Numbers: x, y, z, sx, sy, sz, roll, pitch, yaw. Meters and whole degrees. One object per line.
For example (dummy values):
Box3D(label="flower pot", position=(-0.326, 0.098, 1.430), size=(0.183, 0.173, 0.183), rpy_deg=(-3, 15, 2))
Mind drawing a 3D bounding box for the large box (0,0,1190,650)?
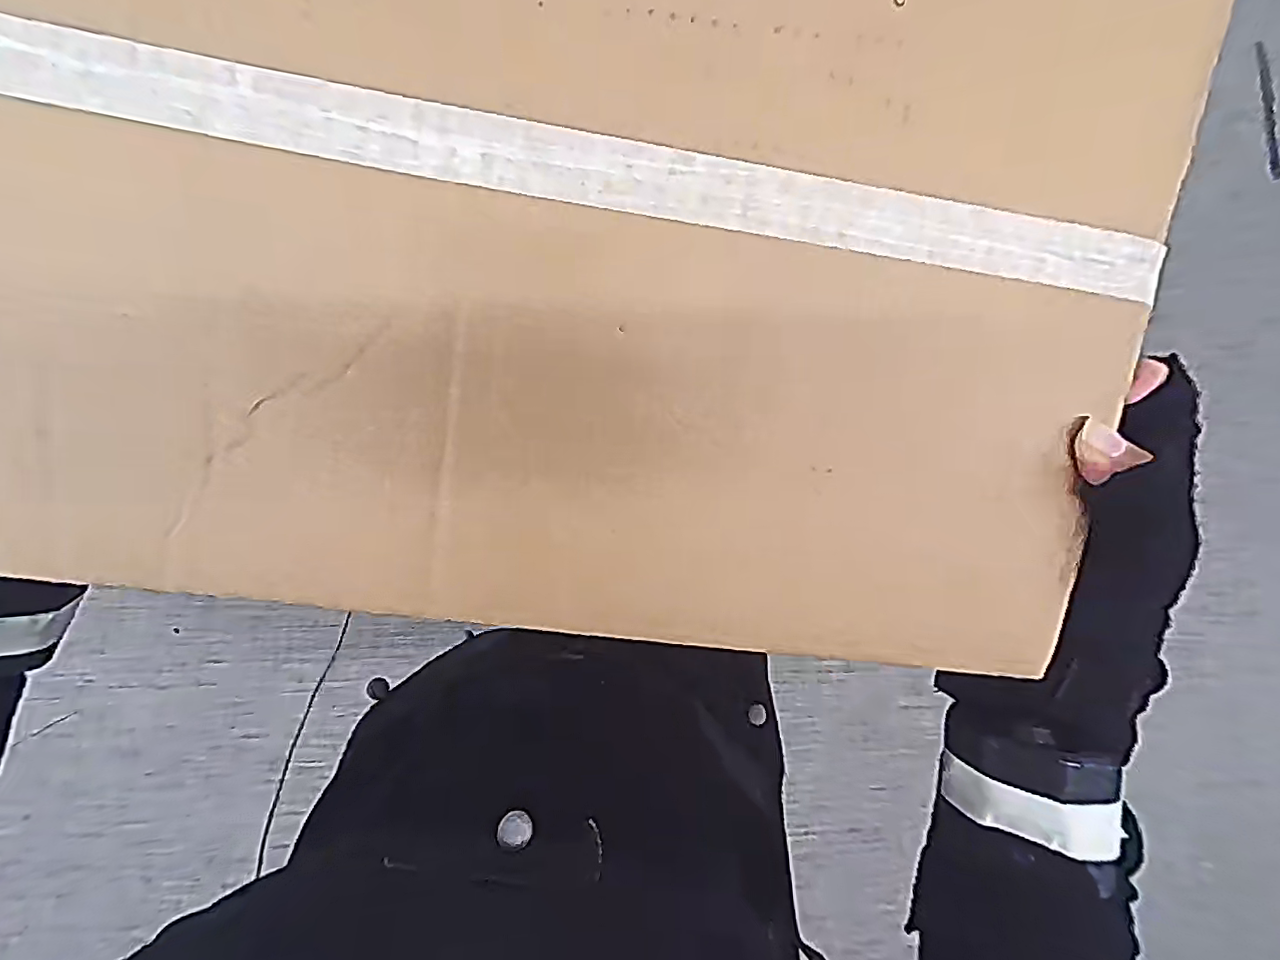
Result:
Box3D(label="large box", position=(-0.030, -0.125, 0.330), size=(0.408, 0.320, 0.320), rpy_deg=(7, 99, -6))
